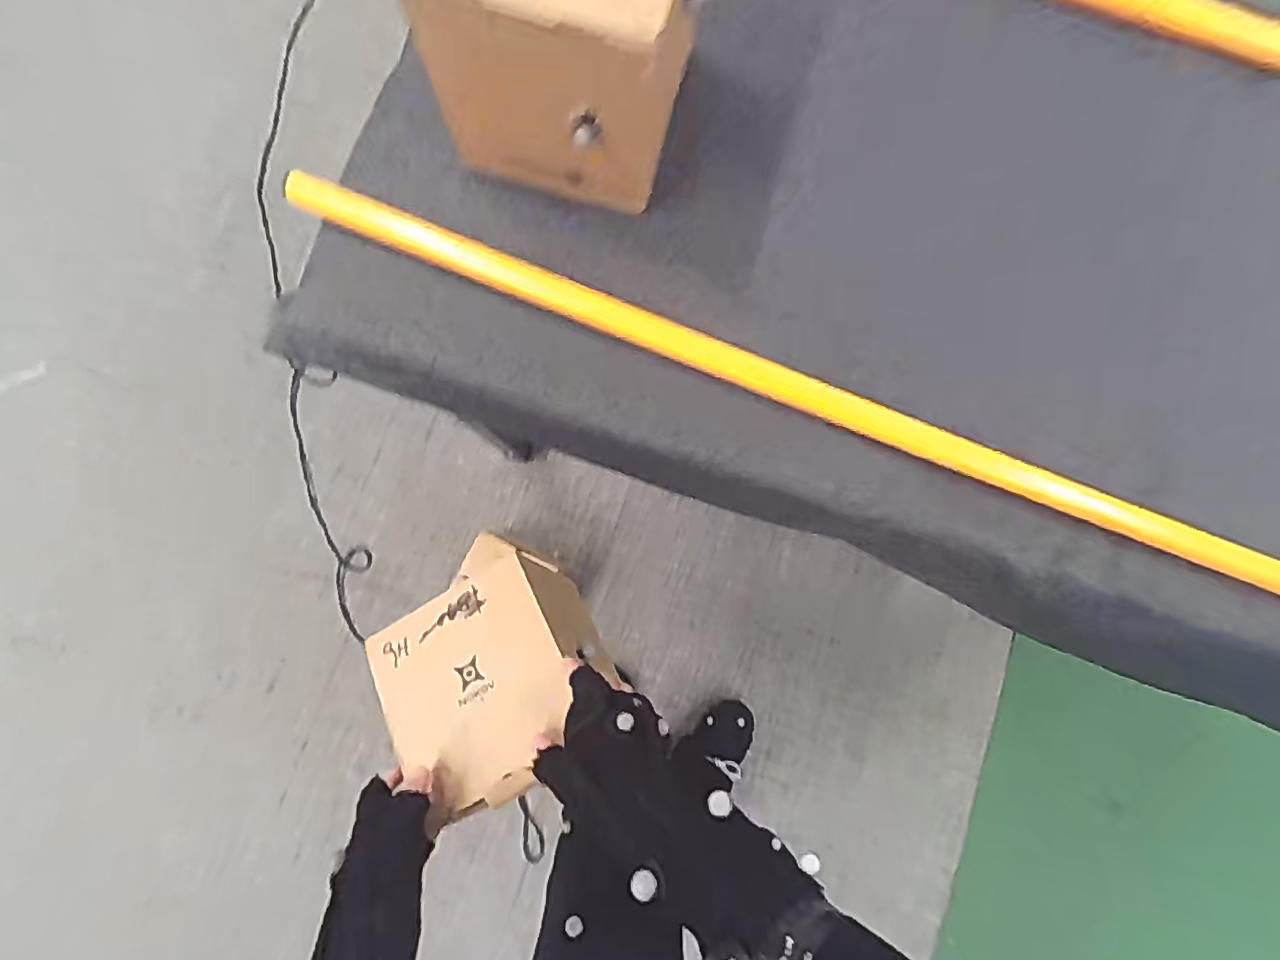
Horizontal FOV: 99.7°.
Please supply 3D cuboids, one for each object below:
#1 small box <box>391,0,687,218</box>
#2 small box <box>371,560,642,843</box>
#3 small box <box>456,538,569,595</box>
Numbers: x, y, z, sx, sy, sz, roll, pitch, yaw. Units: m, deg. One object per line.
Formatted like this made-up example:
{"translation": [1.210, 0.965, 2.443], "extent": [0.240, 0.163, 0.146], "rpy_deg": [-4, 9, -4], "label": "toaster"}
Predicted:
{"translation": [-0.058, -0.341, 0.419], "extent": [0.168, 0.176, 0.179], "rpy_deg": [14, 80, -1], "label": "small box"}
{"translation": [-0.119, 0.206, 0.536], "extent": [0.168, 0.176, 0.179], "rpy_deg": [-35, 66, 0], "label": "small box"}
{"translation": [-0.252, 0.228, 1.072], "extent": [0.168, 0.176, 0.179], "rpy_deg": [26, 83, 3], "label": "small box"}
